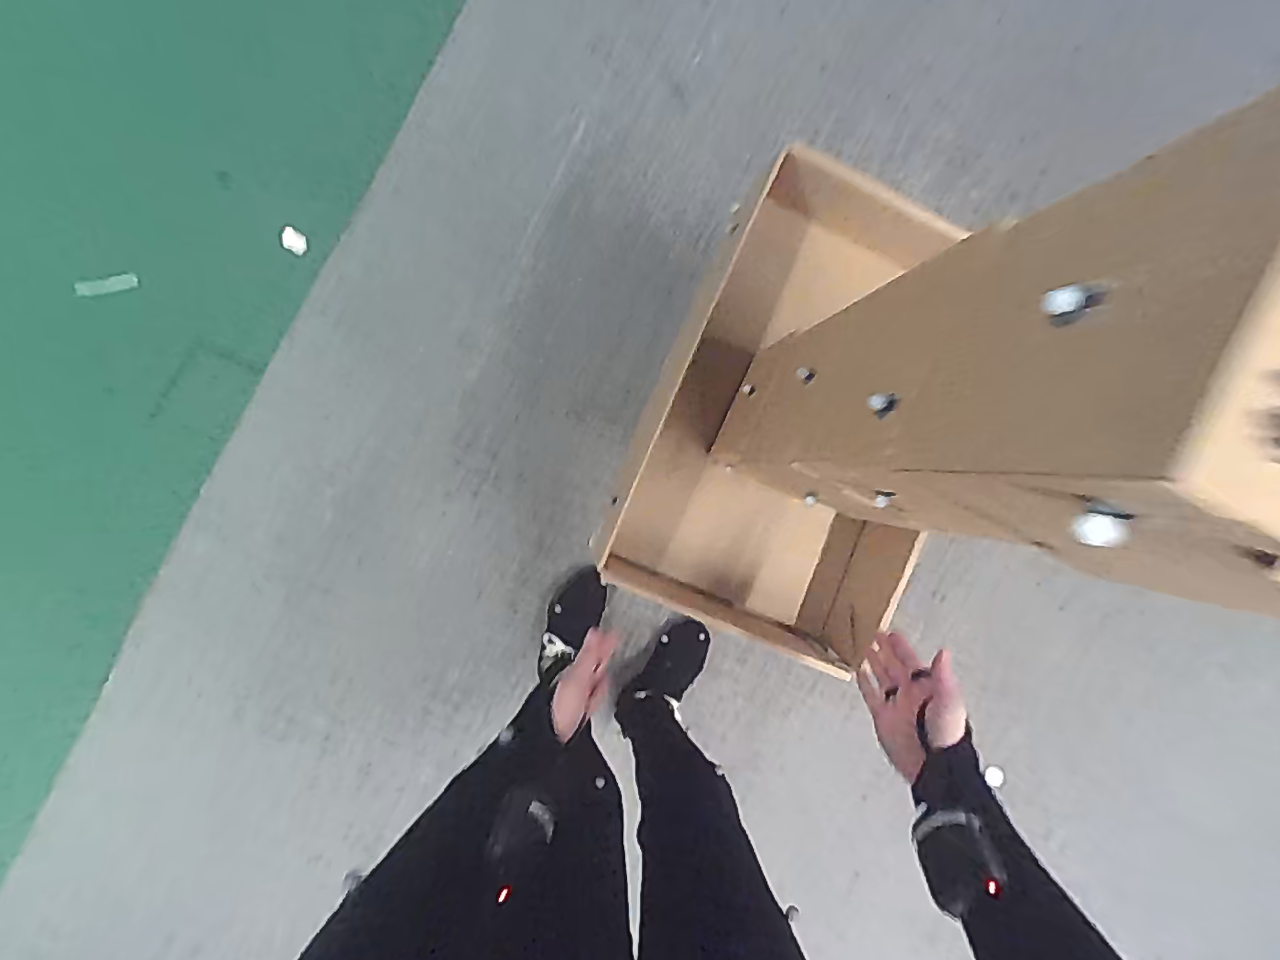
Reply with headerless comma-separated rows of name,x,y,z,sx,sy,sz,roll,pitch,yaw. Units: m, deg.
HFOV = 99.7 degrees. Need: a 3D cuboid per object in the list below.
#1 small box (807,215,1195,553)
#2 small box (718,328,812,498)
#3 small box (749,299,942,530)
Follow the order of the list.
small box,0.262,-0.064,0.435,0.168,0.176,0.179,24,89,-8
small box,0.225,-0.080,0.759,0.168,0.176,0.179,25,88,-7
small box,0.242,-0.064,0.596,0.168,0.176,0.179,24,89,-7
